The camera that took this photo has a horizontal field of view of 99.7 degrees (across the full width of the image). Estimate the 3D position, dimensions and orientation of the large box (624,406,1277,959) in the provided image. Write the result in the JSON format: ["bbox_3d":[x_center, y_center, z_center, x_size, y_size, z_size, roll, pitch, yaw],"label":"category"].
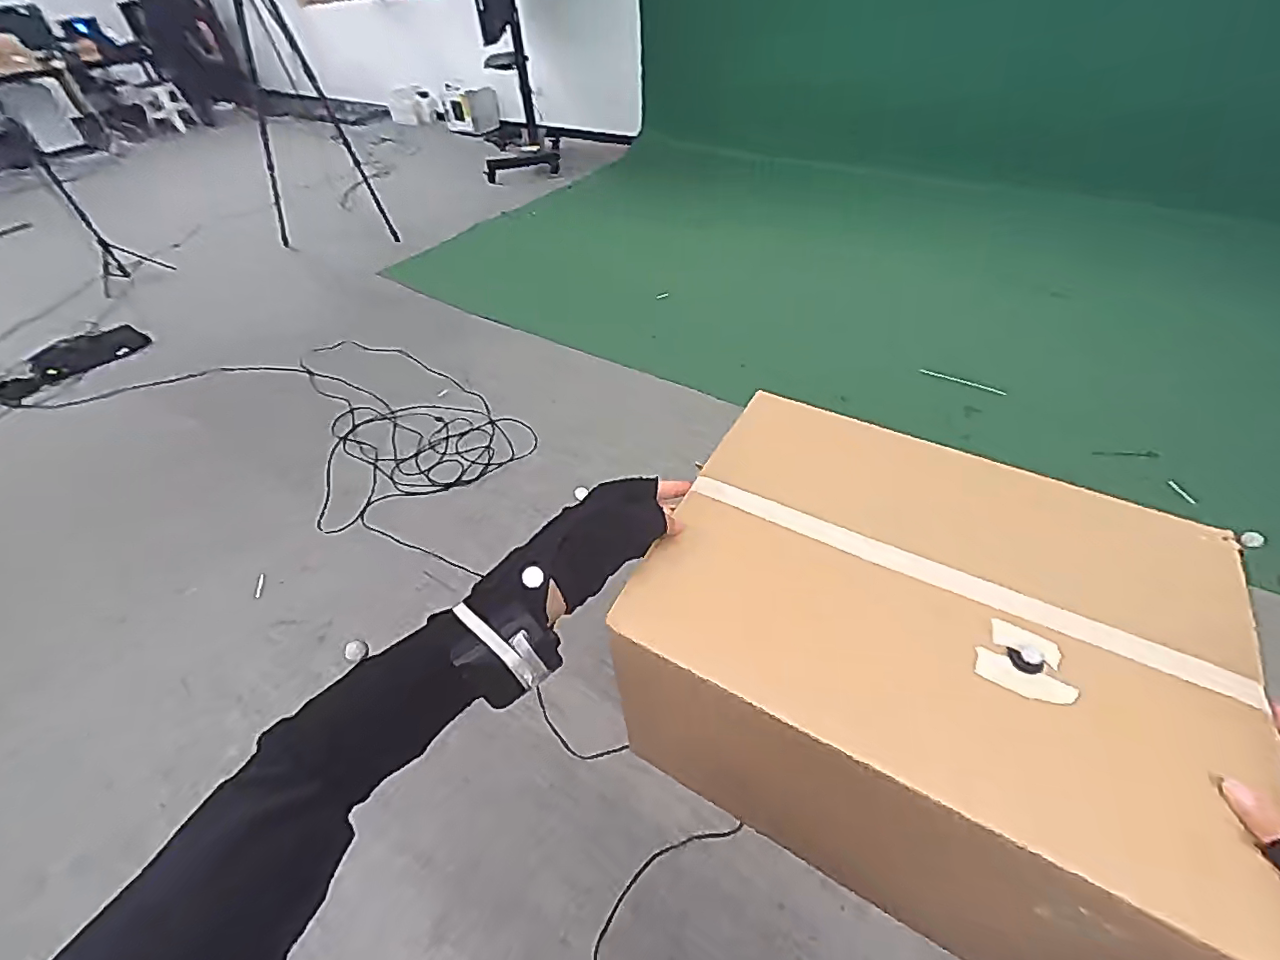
[{"bbox_3d":[0.231,0.182,0.543,0.408,0.320,0.320,22,52,21],"label":"large box"}]
